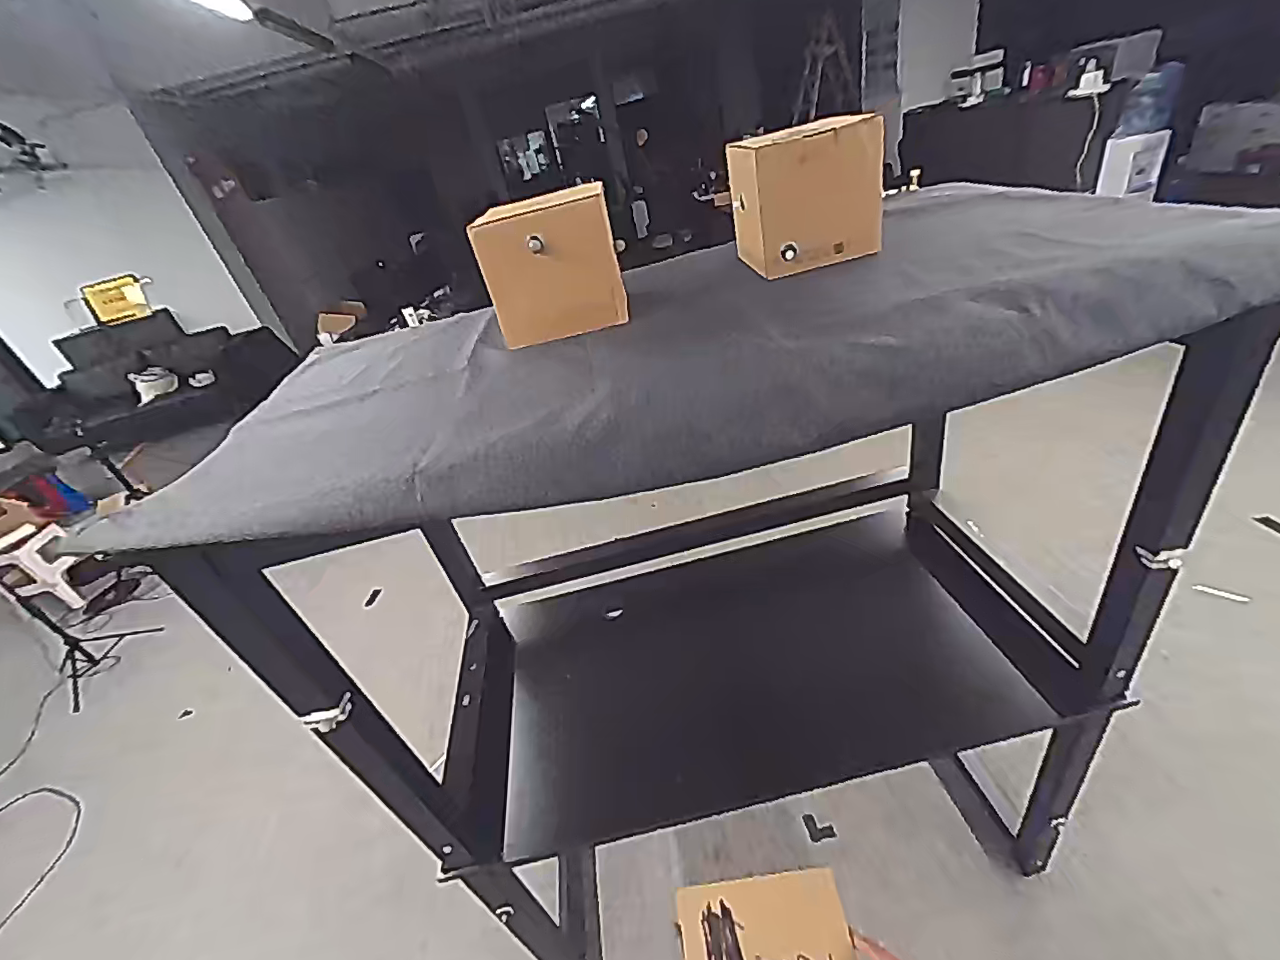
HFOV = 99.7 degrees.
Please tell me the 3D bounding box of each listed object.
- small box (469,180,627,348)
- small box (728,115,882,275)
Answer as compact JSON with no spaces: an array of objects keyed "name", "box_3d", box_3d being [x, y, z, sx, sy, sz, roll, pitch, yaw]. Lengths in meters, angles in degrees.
[{"name":"small box","box_3d":[-0.116,-0.310,0.776,0.179,0.176,0.168,-12,33,5]},{"name":"small box","box_3d":[0.236,-0.411,0.788,0.168,0.176,0.179,-13,32,3]}]
